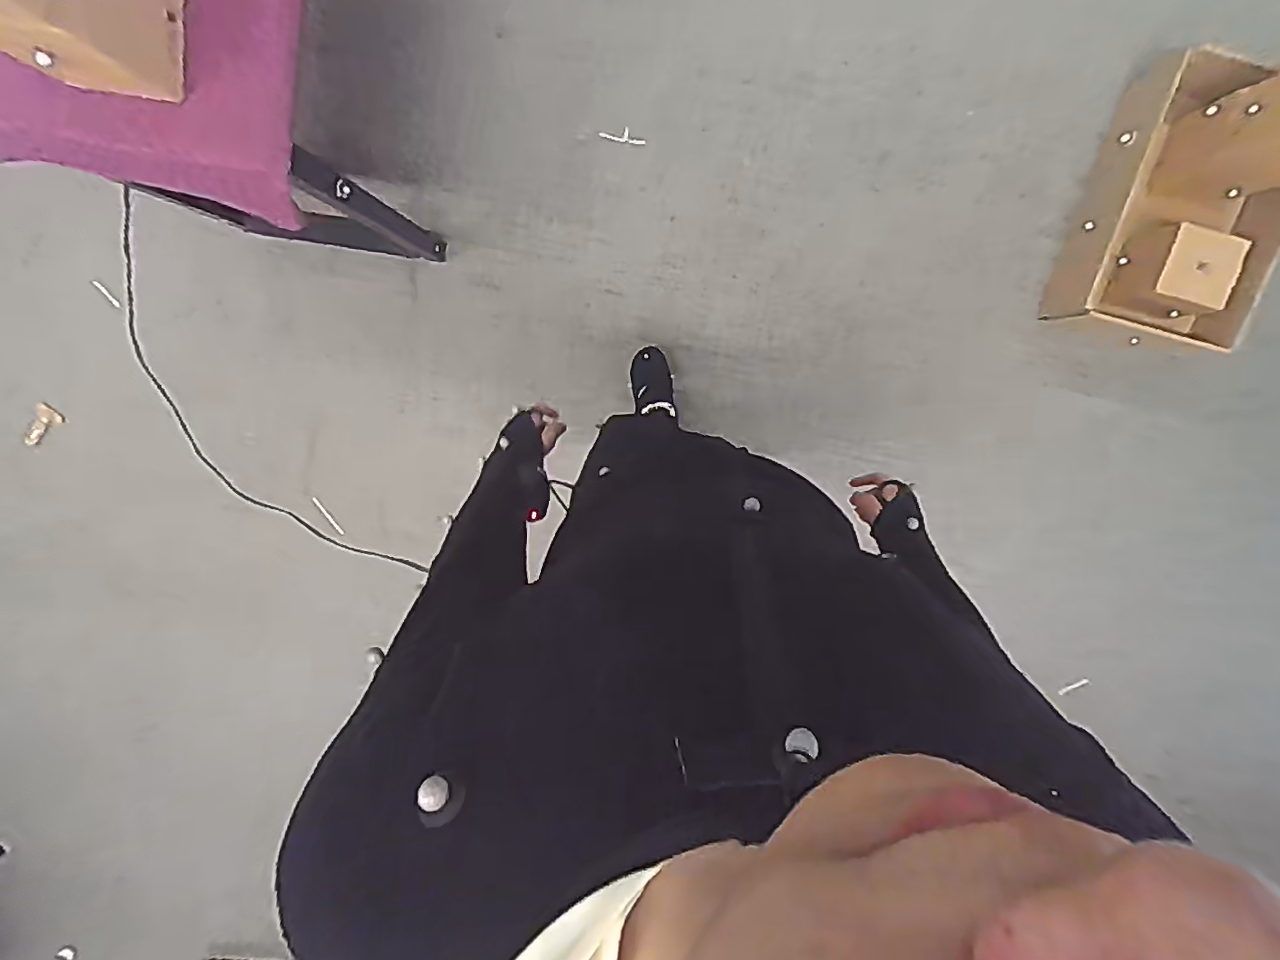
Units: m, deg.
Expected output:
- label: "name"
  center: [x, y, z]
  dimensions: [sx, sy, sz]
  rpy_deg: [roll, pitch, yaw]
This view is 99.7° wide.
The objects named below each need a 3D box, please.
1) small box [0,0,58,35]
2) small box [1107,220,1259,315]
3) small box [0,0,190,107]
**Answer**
- label: "small box"
  center: [-0.760, -0.605, 0.555]
  dimensions: [0.179, 0.176, 0.168]
  rpy_deg: [9, 100, 1]
- label: "small box"
  center: [1.340, -0.518, 1.347]
  dimensions: [0.179, 0.176, 0.168]
  rpy_deg: [15, 99, 0]
- label: "small box"
  center: [-0.755, -0.631, 0.718]
  dimensions: [0.179, 0.176, 0.168]
  rpy_deg: [9, 100, 1]
